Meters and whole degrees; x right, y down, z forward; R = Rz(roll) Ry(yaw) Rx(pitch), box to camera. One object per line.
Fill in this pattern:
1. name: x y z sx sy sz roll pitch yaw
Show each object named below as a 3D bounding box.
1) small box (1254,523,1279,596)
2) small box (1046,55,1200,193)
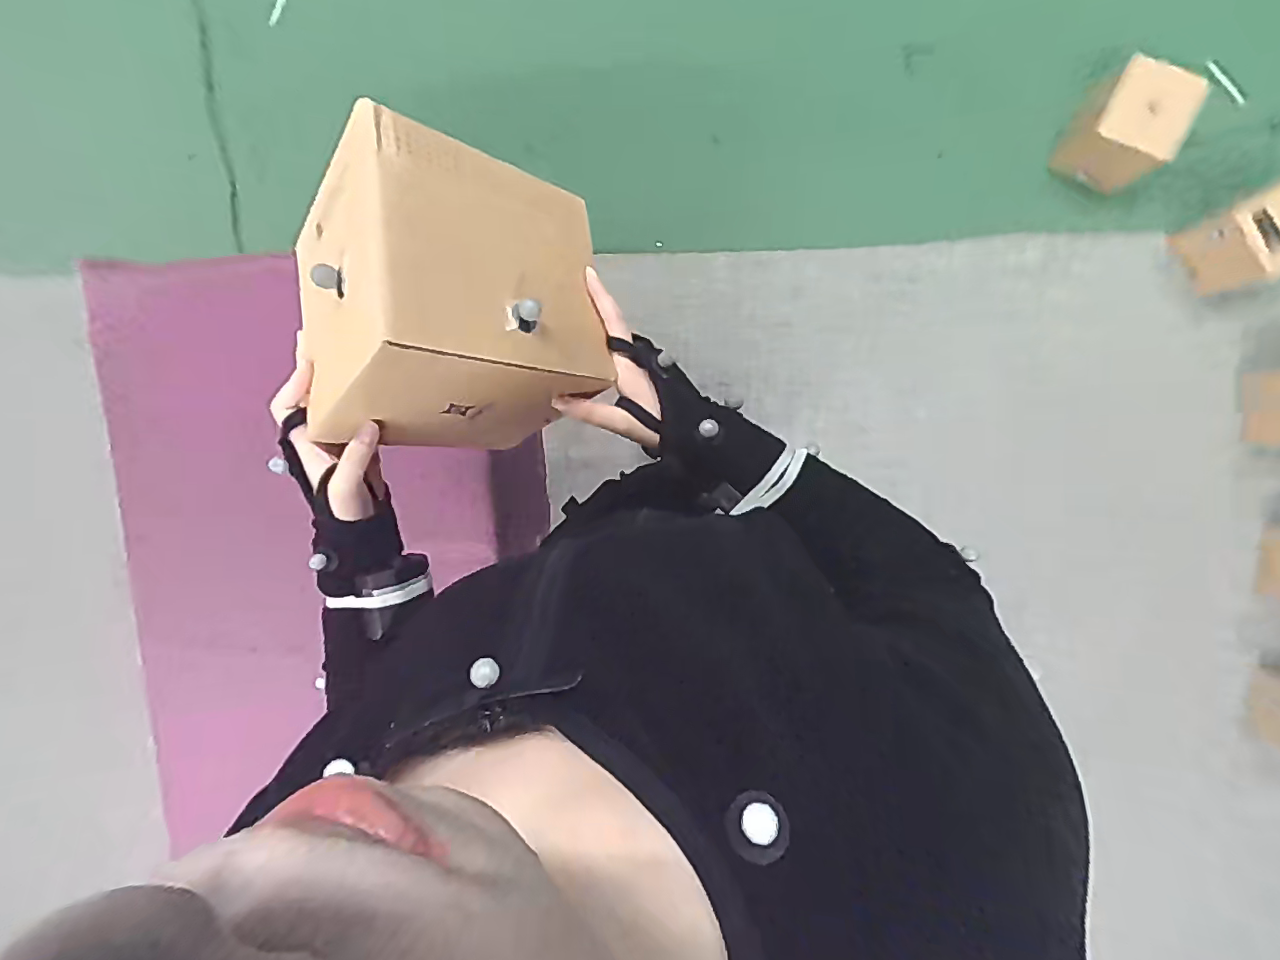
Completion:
1. small box: 1.623 0.203 1.273 0.168 0.176 0.179 1 95 5
2. small box: 1.091 -0.805 1.240 0.168 0.176 0.179 24 97 3
